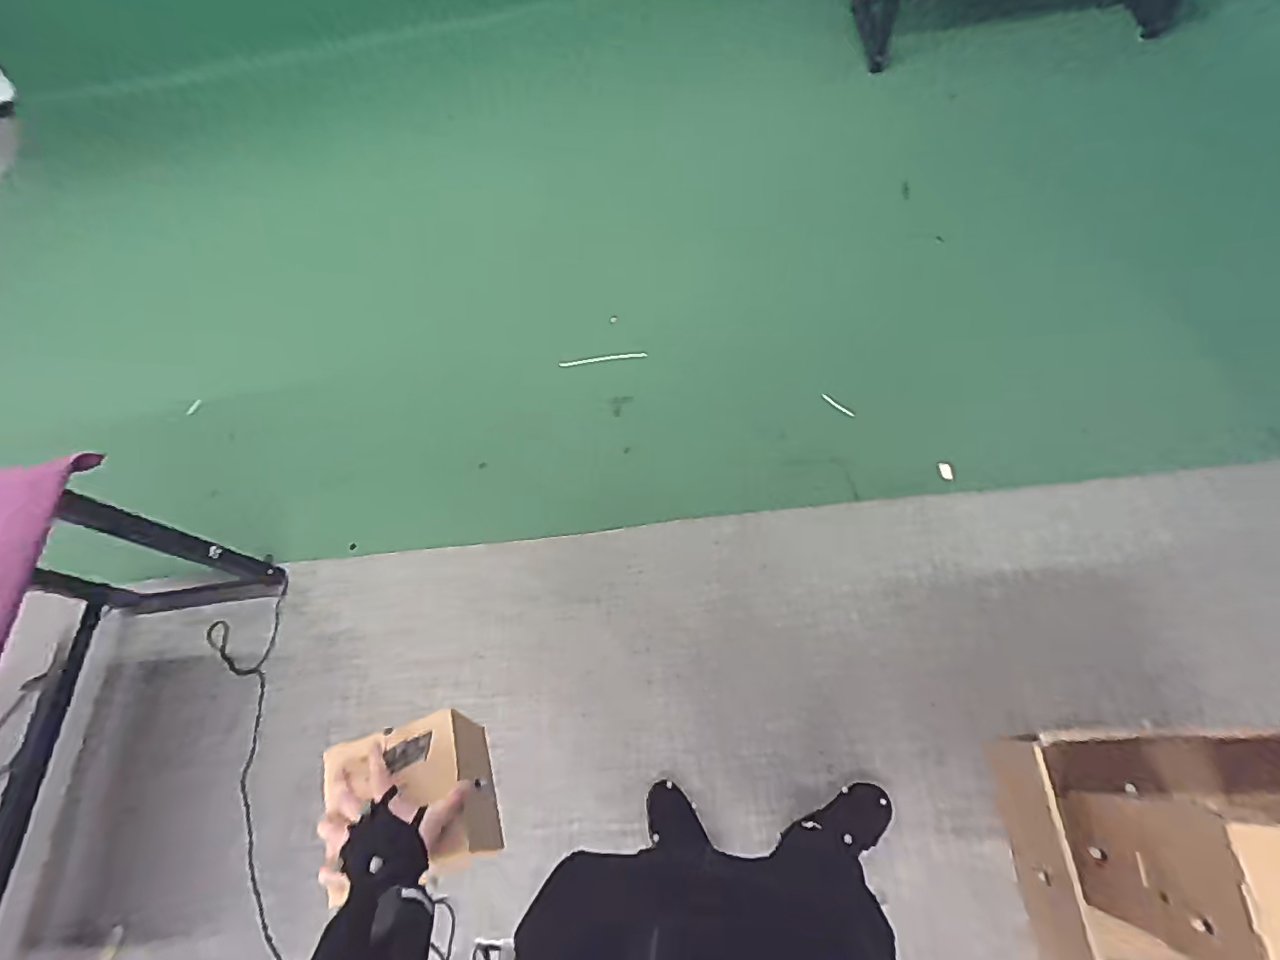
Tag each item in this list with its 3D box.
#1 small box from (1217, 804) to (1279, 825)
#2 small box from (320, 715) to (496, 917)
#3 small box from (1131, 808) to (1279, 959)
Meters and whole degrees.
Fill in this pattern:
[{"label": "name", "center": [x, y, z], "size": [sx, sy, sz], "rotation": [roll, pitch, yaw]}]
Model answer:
[{"label": "small box", "center": [1.027, 0.573, 0.782], "size": [0.179, 0.176, 0.168], "rotation": [-4, 64, 7]}, {"label": "small box", "center": [-0.309, 0.451, 0.736], "size": [0.168, 0.176, 0.179], "rotation": [-18, 58, -9]}, {"label": "small box", "center": [0.758, 0.513, 0.662], "size": [0.179, 0.176, 0.168], "rotation": [3, 66, 8]}]
